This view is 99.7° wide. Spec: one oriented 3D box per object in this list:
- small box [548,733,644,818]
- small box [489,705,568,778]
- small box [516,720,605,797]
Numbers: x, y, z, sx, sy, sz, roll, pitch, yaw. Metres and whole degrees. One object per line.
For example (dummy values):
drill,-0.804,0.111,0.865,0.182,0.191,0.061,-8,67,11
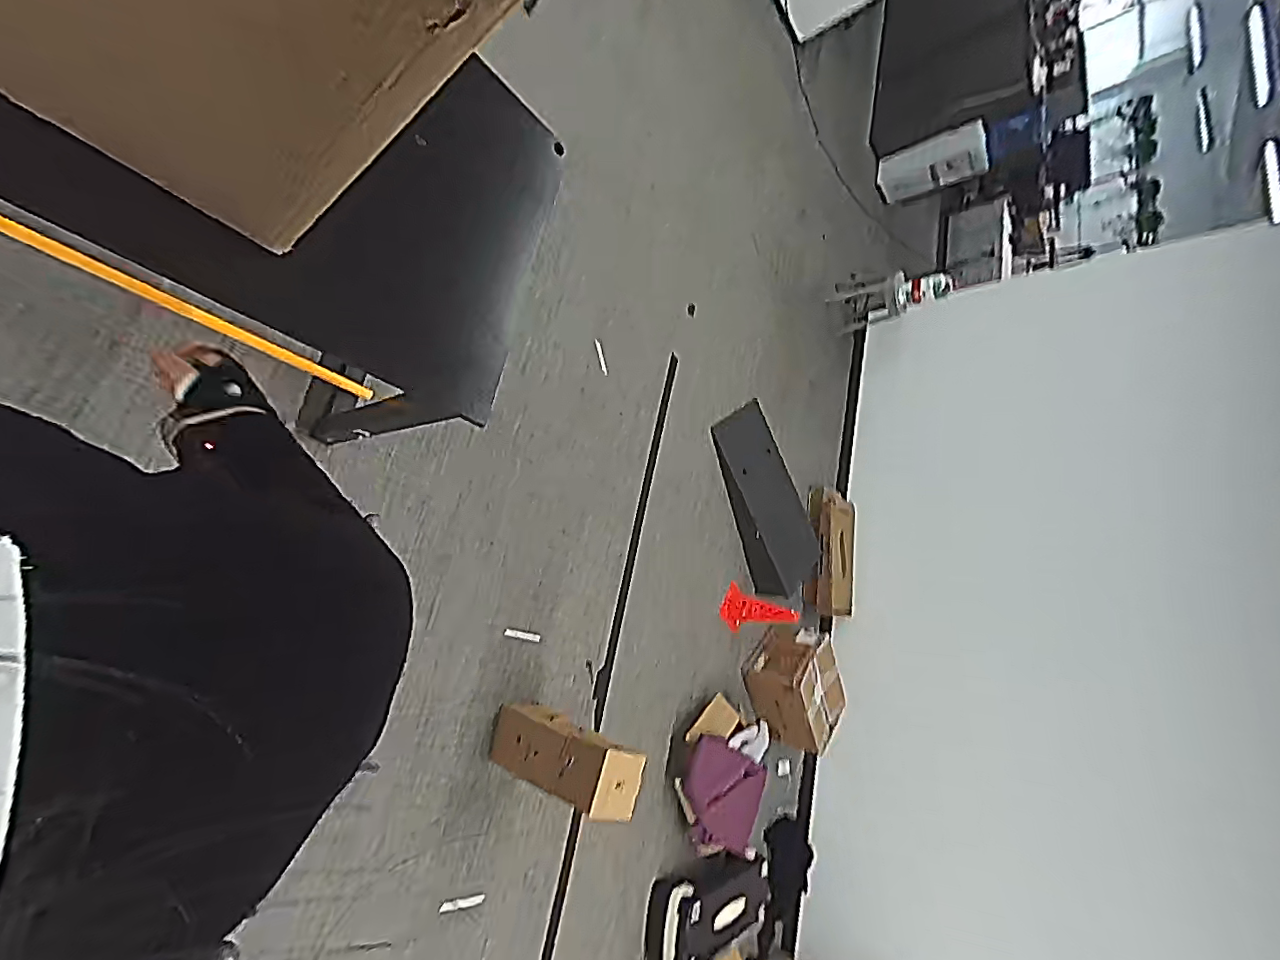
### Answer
small box,-0.123,0.826,1.517,0.179,0.176,0.168,35,63,-41
small box,-0.362,0.831,1.740,0.168,0.176,0.179,24,72,-45
small box,-0.240,0.833,1.630,0.179,0.176,0.168,29,68,-44
